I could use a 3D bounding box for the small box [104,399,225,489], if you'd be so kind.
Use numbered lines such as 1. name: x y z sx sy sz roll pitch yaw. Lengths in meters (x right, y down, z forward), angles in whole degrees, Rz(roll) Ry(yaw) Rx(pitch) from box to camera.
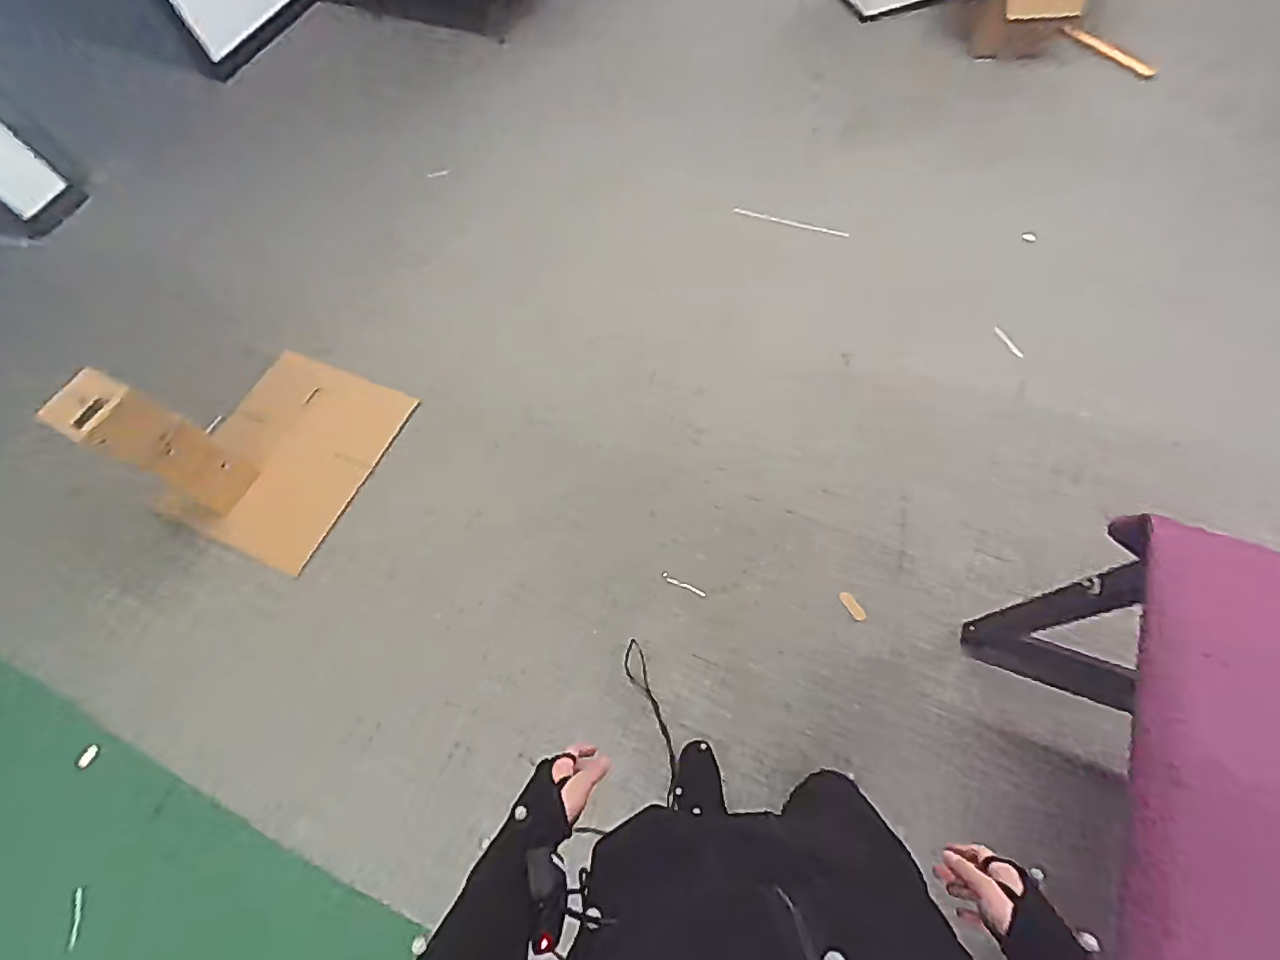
1. small box: -1.370 -0.101 1.579 0.168 0.176 0.179 23 70 13

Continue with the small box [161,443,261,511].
1. small box: -1.362 -0.028 1.723 0.168 0.176 0.179 22 69 14
